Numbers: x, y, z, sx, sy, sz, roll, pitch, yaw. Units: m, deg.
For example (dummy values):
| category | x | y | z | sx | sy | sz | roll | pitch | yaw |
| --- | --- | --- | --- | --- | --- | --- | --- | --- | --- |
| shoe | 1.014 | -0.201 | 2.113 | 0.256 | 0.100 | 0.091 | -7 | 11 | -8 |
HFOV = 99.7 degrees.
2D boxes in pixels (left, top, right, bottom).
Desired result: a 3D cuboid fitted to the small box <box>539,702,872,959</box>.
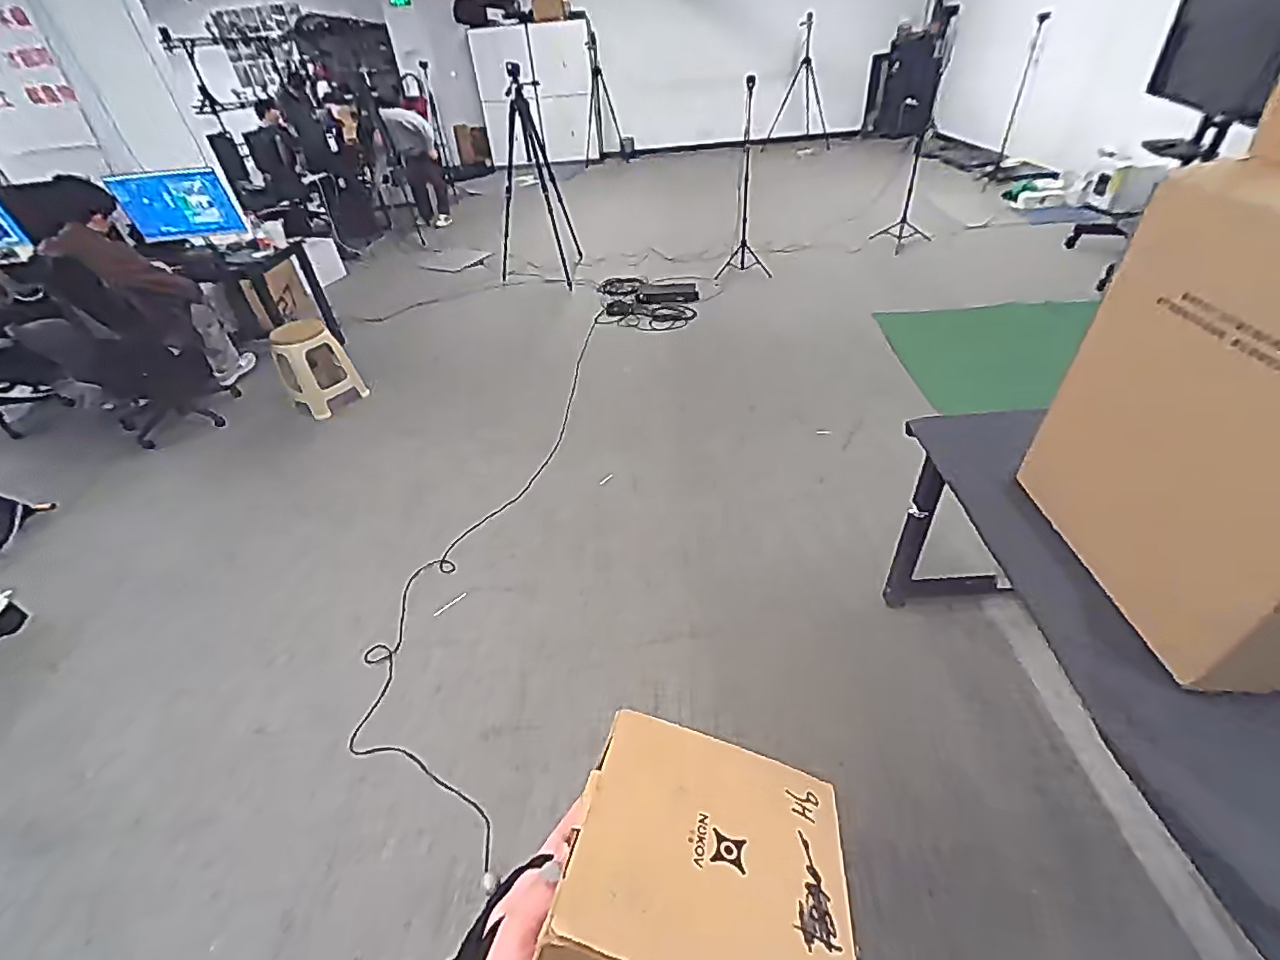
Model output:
| category | x | y | z | sx | sy | sz | roll | pitch | yaw |
| --- | --- | --- | --- | --- | --- | --- | --- | --- | --- |
| small box | 0.033 | 0.295 | 0.367 | 0.179 | 0.176 | 0.168 | 17 | 23 | 6 |

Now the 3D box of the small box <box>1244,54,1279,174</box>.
| category | x | y | z | sx | sy | sz | roll | pitch | yaw |
| --- | --- | --- | --- | --- | --- | --- | --- | --- | --- |
| small box | 0.999 | -0.516 | 0.731 | 0.179 | 0.176 | 0.168 | -6 | 39 | 4 |
